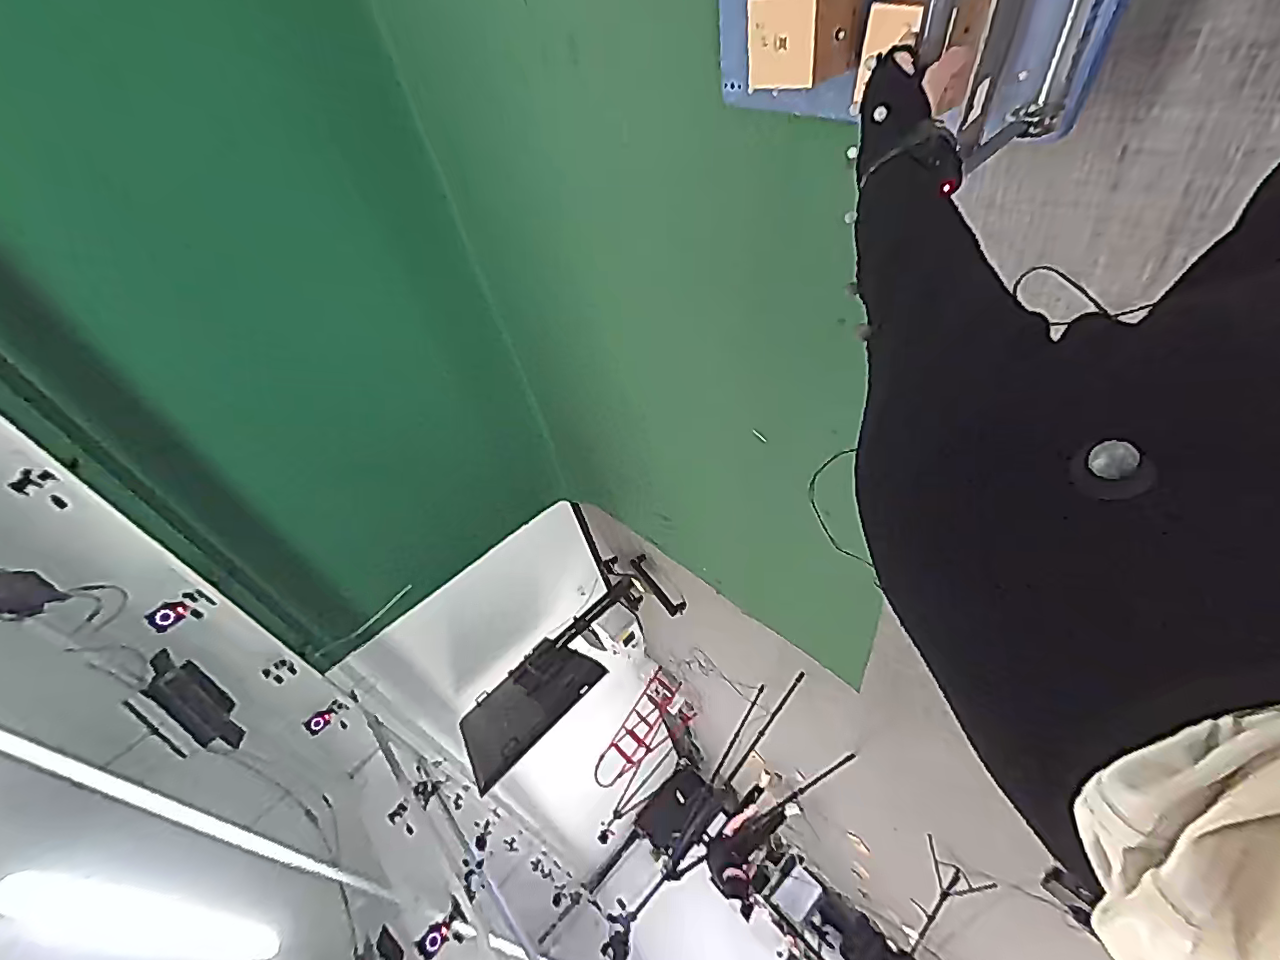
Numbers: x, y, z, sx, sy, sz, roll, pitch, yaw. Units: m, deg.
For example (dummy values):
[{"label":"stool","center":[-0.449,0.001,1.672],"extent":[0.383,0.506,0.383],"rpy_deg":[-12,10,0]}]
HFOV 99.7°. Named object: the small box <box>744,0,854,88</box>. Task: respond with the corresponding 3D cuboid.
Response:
[{"label":"small box","center":[0.354,-0.995,1.203],"extent":[0.179,0.176,0.168],"rpy_deg":[33,149,36]}]
